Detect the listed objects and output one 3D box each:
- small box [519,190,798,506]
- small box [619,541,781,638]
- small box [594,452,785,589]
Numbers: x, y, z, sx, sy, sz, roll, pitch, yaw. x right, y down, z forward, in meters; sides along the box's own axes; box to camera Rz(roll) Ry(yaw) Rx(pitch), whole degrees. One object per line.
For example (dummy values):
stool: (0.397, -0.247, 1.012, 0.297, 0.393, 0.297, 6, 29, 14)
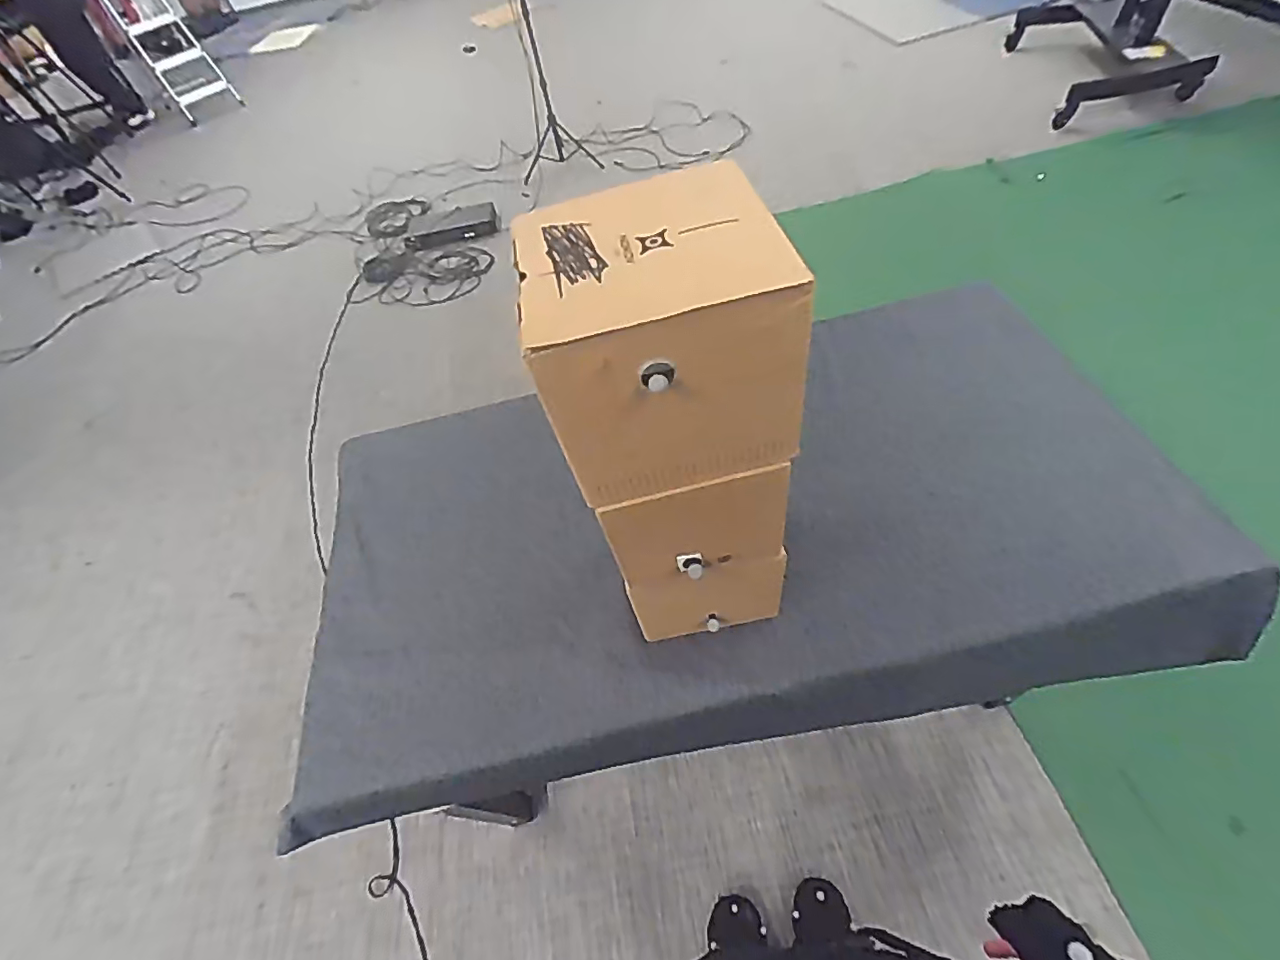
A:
small box: (0.014, -0.097, 0.442, 0.179, 0.176, 0.168, -14, 54, 1)
small box: (0.064, 0.083, 0.689, 0.179, 0.176, 0.168, -12, 53, 0)
small box: (0.039, -0.013, 0.561, 0.168, 0.176, 0.179, -15, 54, 1)
